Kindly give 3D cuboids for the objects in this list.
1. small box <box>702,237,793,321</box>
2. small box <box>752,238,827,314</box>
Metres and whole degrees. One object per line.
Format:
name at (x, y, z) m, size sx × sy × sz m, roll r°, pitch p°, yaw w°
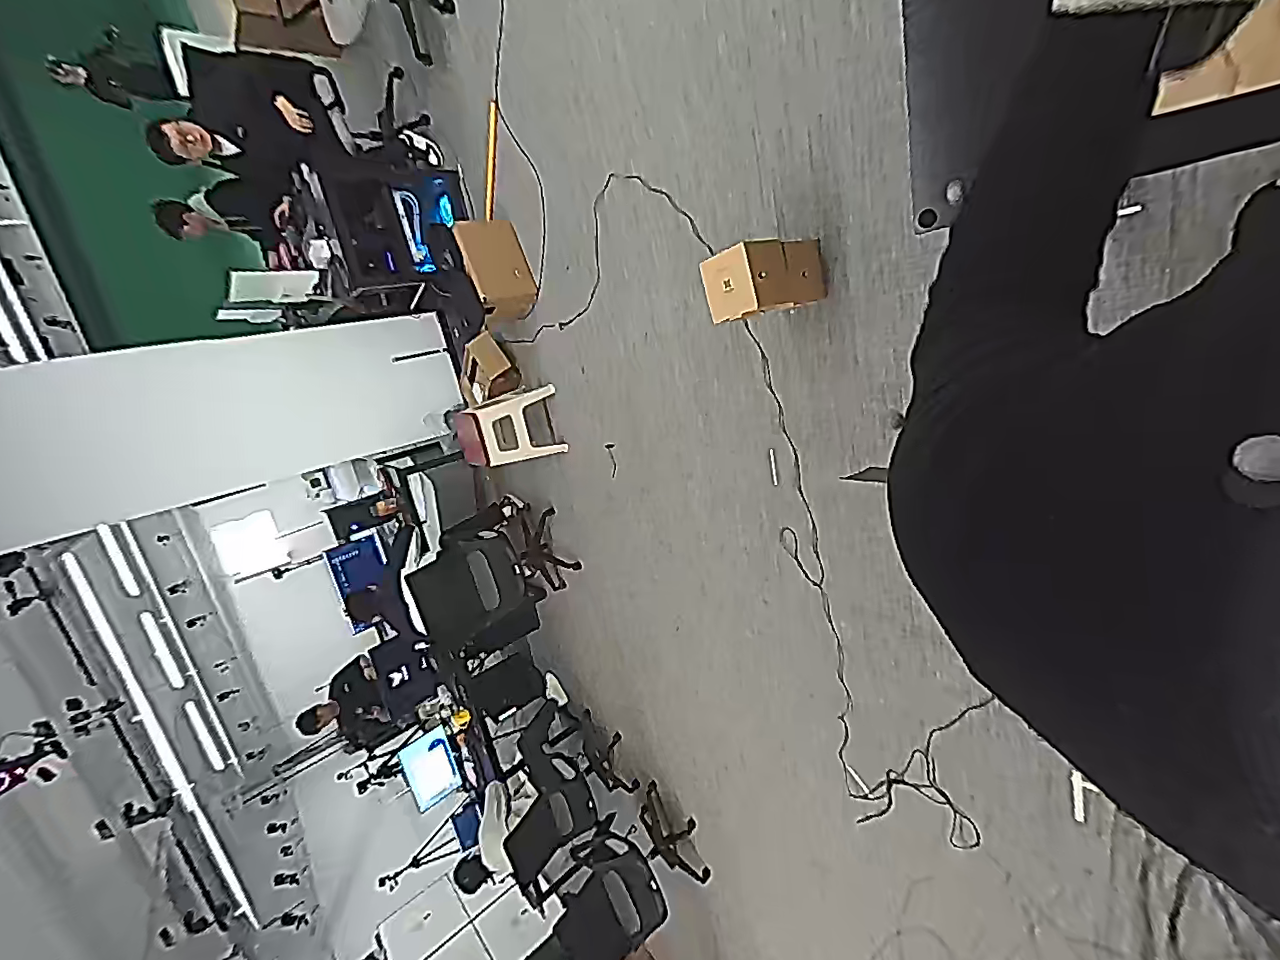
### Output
small box at (0.303, -0.560, 1.506) m, size 0.168 × 0.176 × 0.179 m, roll -3°, pitch 104°, yaw 52°
small box at (0.428, -0.605, 1.600) m, size 0.168 × 0.176 × 0.179 m, roll 2°, pitch 110°, yaw 52°
